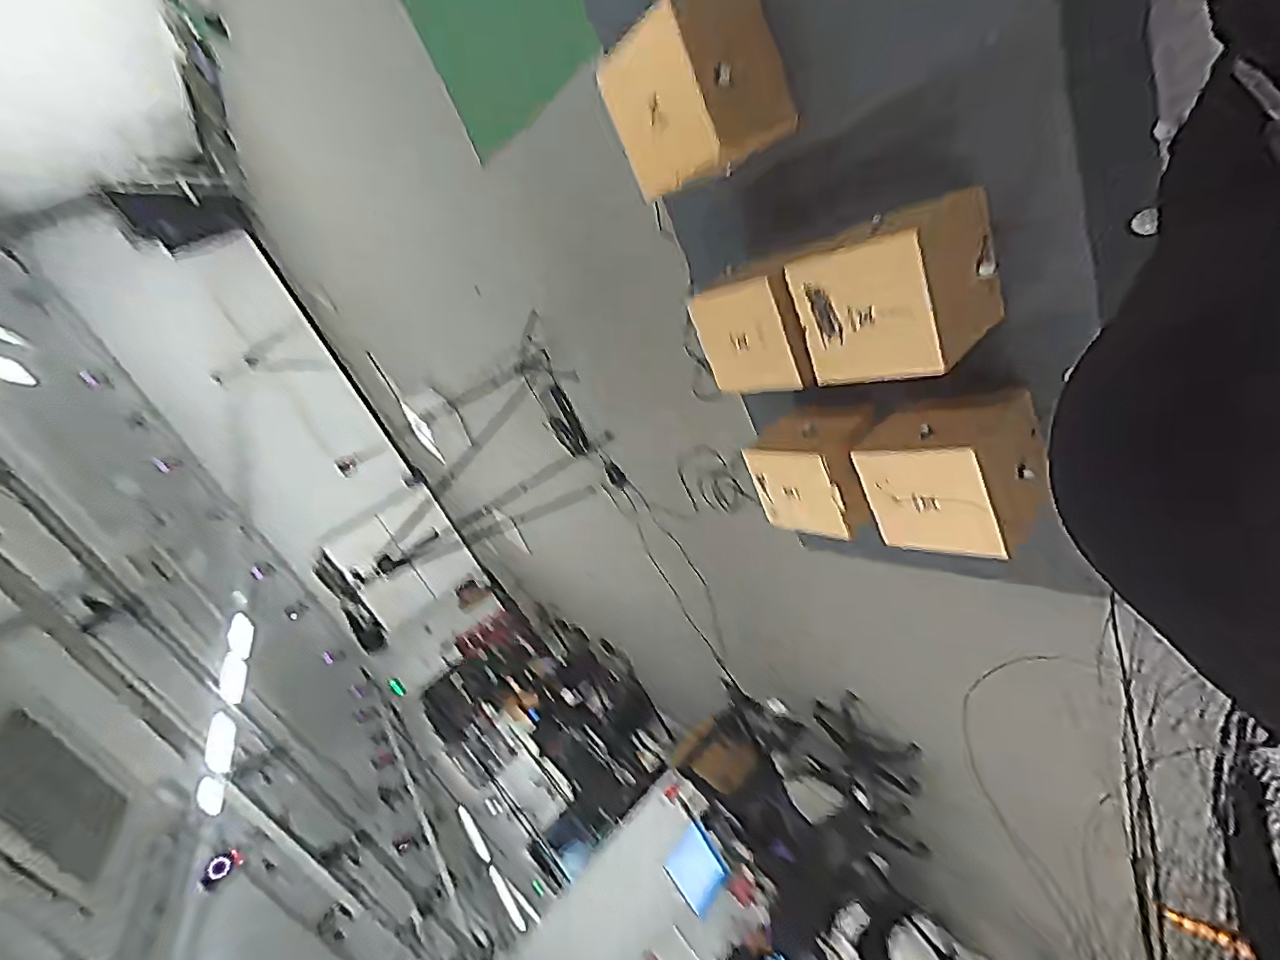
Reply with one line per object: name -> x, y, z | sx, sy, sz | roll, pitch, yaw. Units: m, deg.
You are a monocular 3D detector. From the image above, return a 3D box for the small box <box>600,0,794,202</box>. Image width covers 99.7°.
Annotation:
small box -> 0.082, -0.527, 0.755 | 0.168, 0.176, 0.179 | 5, 127, 56
